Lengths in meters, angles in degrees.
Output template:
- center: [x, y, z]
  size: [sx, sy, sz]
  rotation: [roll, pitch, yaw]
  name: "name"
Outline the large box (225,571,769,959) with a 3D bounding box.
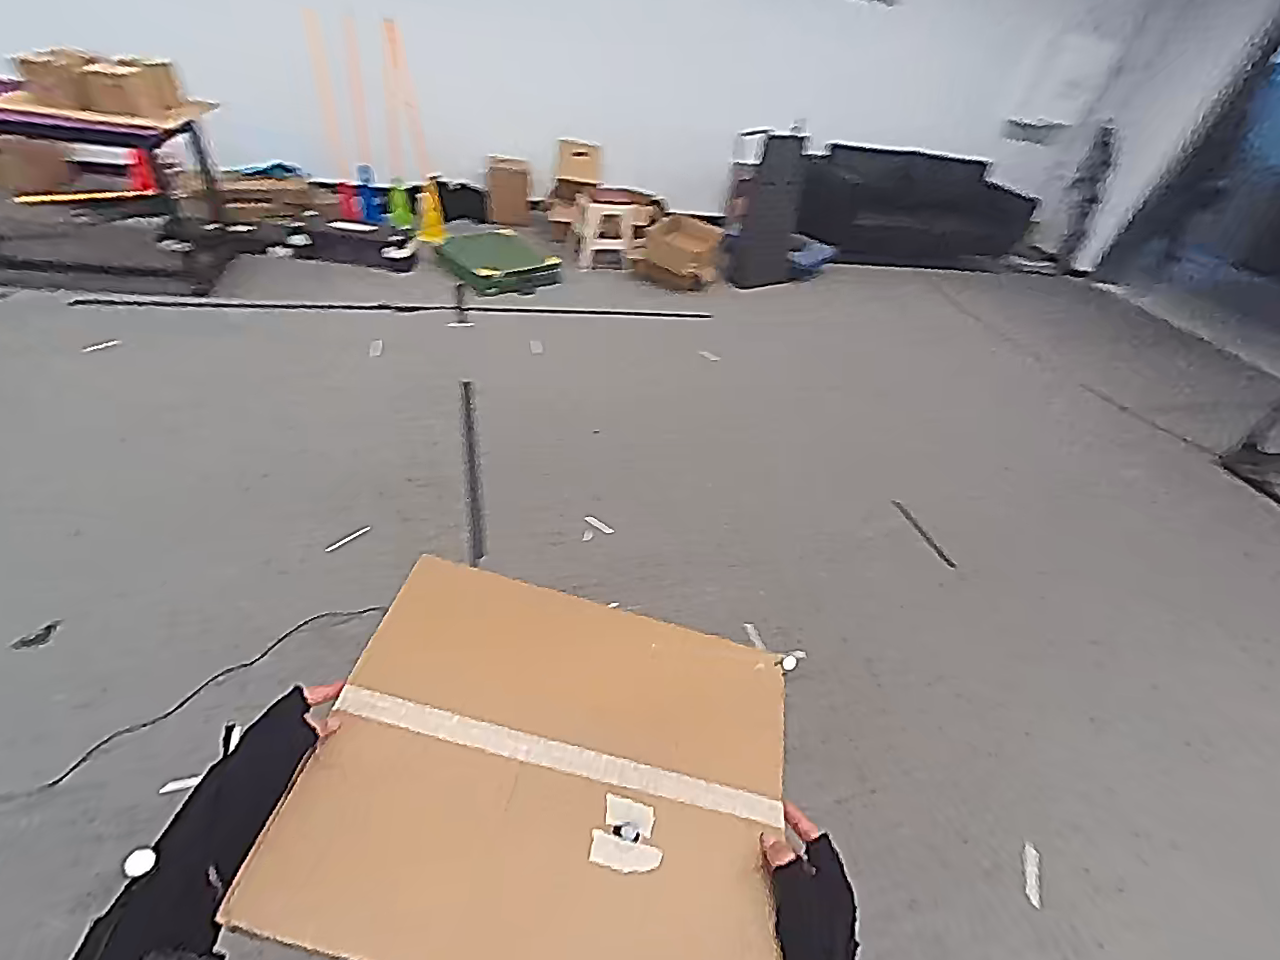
- center: [-0.108, 0.350, 0.590]
  size: [0.408, 0.320, 0.320]
  rotation: [16, 47, -3]
  name: "large box"
